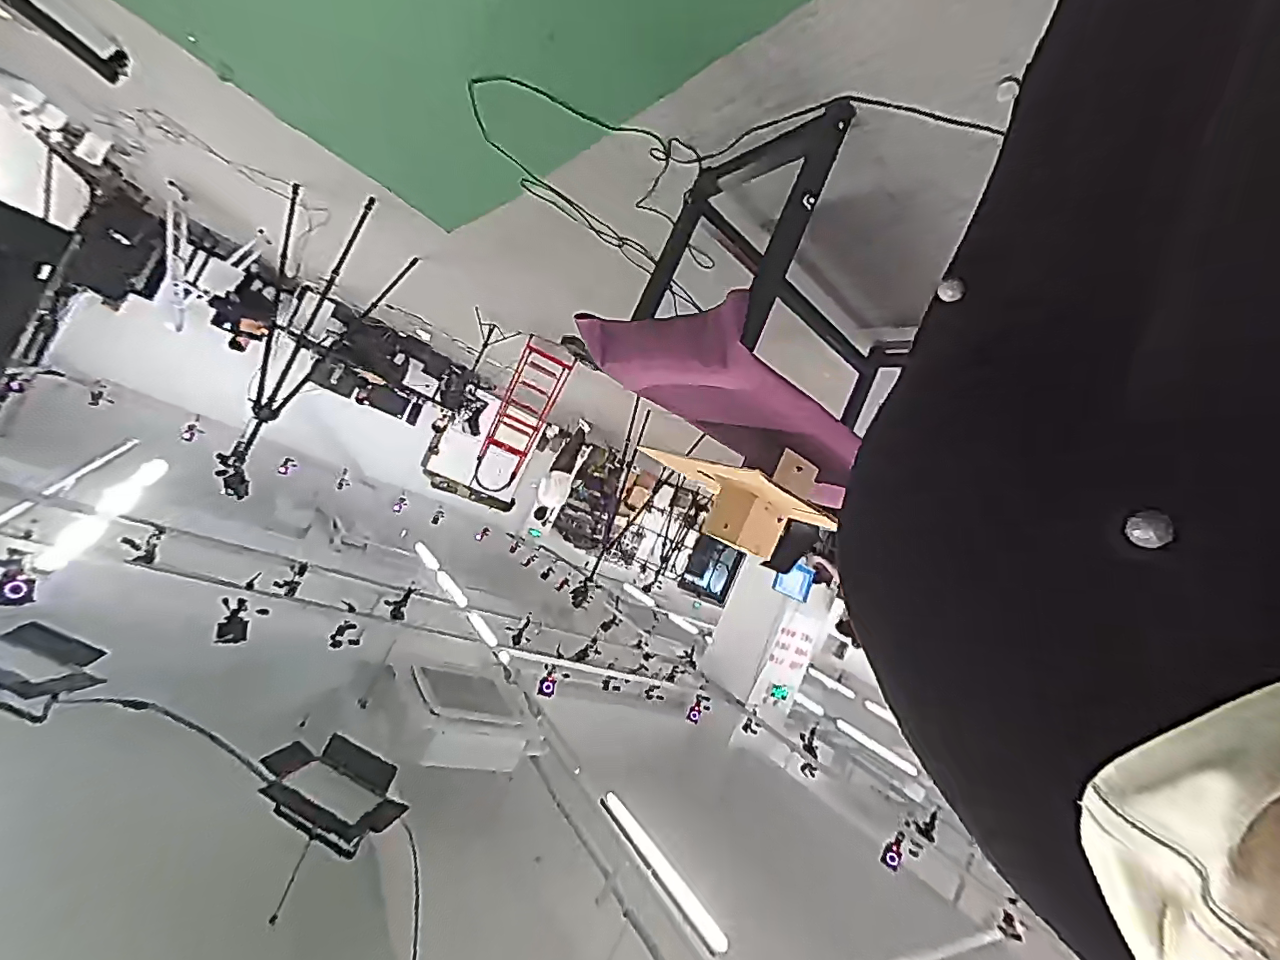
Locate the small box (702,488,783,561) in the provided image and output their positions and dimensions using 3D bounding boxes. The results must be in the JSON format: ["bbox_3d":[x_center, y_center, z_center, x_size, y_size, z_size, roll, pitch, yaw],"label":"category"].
[{"bbox_3d":[0.338,0.138,1.751,0.168,0.176,0.179,29,175,-32],"label":"small box"}]
